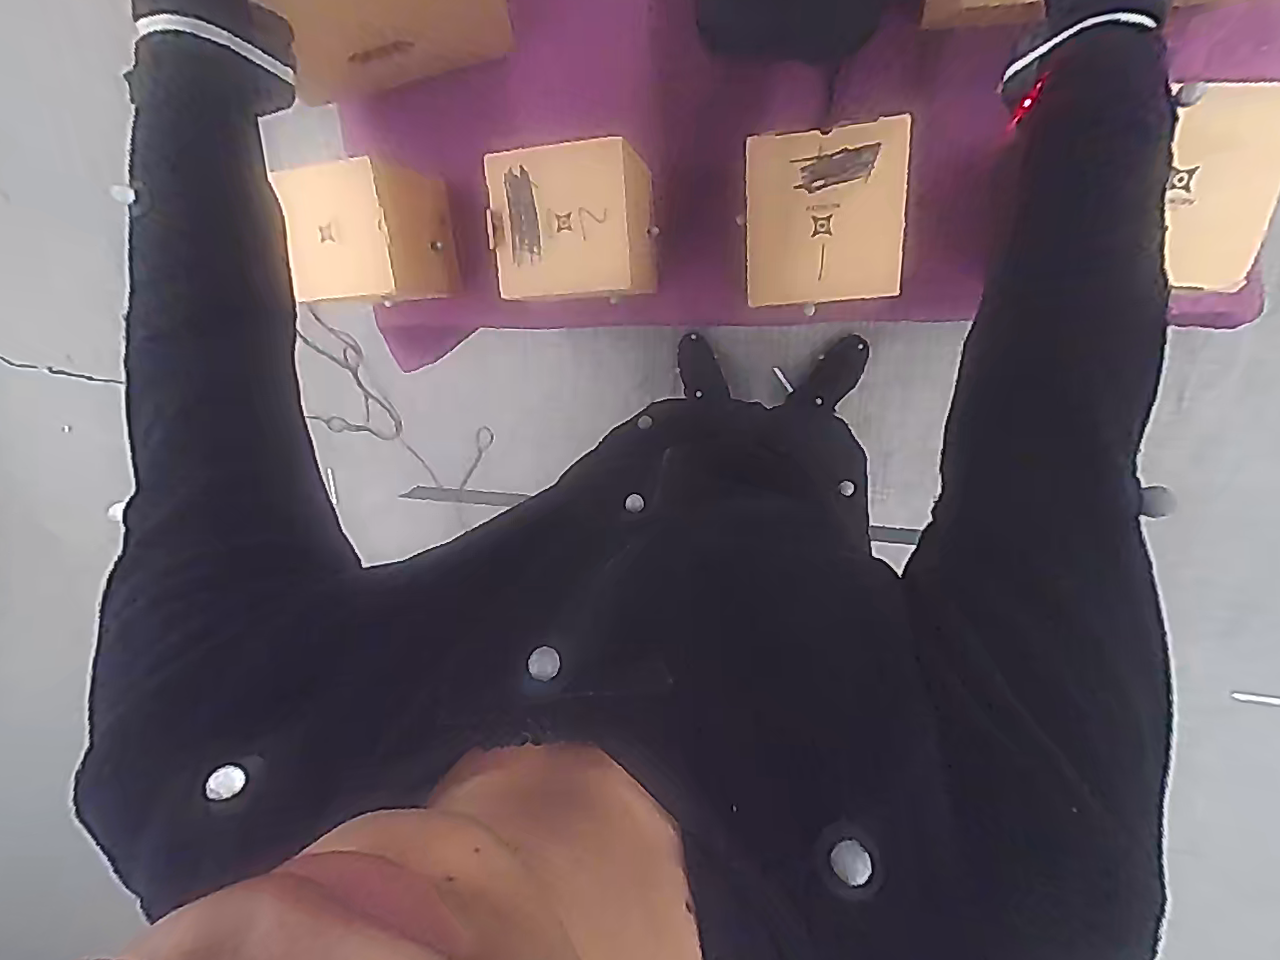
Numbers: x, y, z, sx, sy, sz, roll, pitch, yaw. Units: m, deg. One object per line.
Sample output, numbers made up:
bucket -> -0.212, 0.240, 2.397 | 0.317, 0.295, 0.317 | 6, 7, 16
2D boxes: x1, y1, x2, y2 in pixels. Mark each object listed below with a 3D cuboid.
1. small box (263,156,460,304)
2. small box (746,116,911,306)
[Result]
small box -> -0.396, -0.352, 0.796 | 0.179, 0.176, 0.168 | -1, 107, 13
small box -> 0.216, -0.308, 0.658 | 0.168, 0.176, 0.179 | 1, 109, 14
